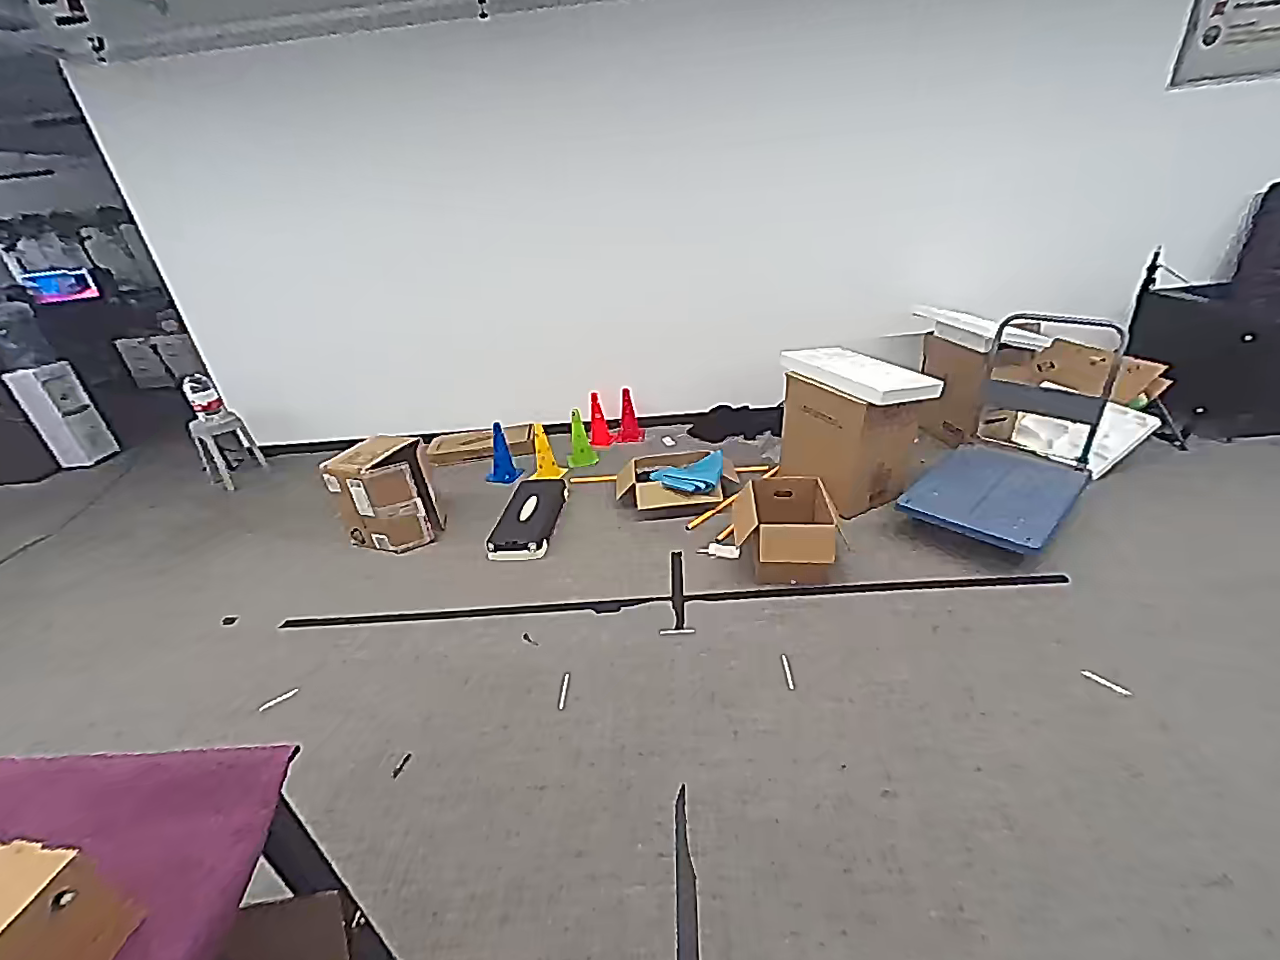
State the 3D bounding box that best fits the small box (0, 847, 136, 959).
[{"bbox_3d":[-0.779,0.578,0.646,0.168,0.176,0.179,-2,28,8],"label":"small box"}]
